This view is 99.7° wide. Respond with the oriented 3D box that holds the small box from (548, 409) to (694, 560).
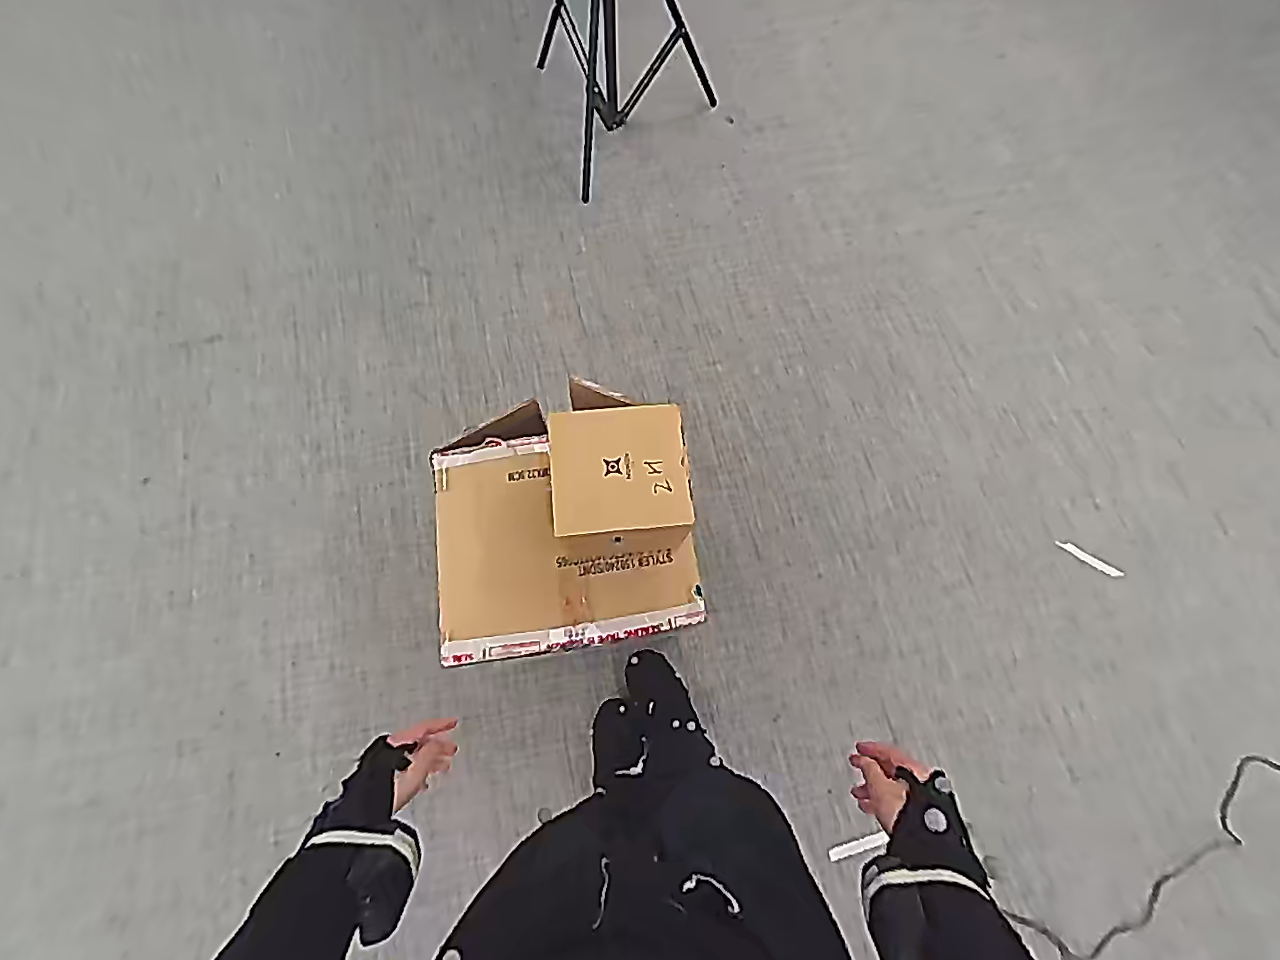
[{"bbox_3d":[-0.029,0.014,0.760,0.179,0.176,0.168,-5,73,-5],"label":"small box"}]
